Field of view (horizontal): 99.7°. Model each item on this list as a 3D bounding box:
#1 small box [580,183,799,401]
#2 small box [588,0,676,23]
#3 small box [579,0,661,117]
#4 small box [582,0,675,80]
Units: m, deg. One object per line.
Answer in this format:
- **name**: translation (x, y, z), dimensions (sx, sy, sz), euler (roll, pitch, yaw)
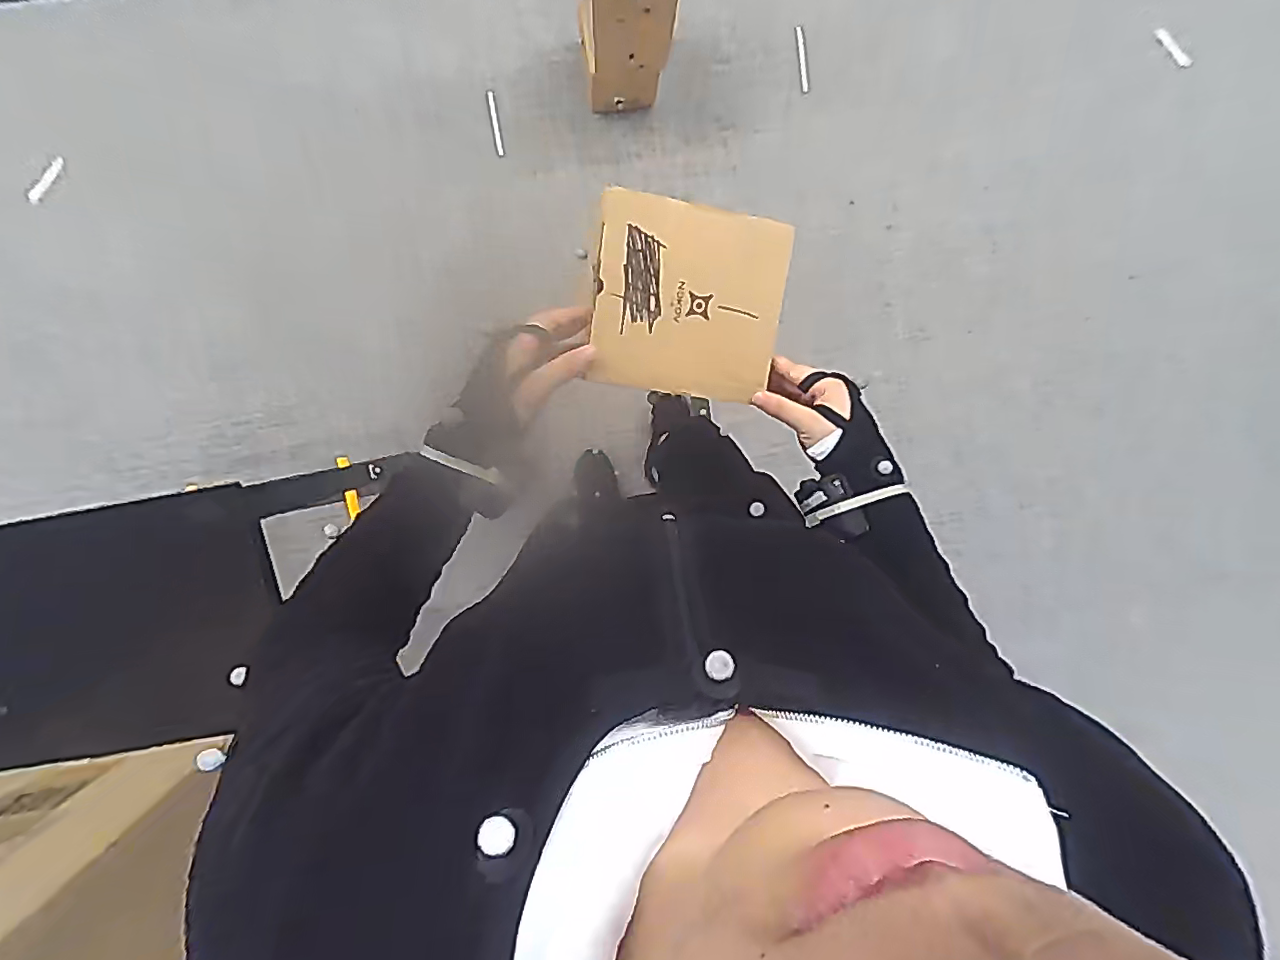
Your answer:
- **small box**: translation (0.035, -0.178, 0.561), dimensions (0.179, 0.176, 0.168), euler (6, 101, -11)
- **small box**: translation (-0.019, -0.957, 0.957), dimensions (0.168, 0.176, 0.179), euler (-9, 98, -2)
- **small box**: translation (-0.050, -1.005, 1.282), dimensions (0.168, 0.176, 0.179), euler (-10, 99, -2)
- **small box**: translation (-0.030, -0.979, 1.120), dimensions (0.168, 0.176, 0.179), euler (-9, 97, -2)
